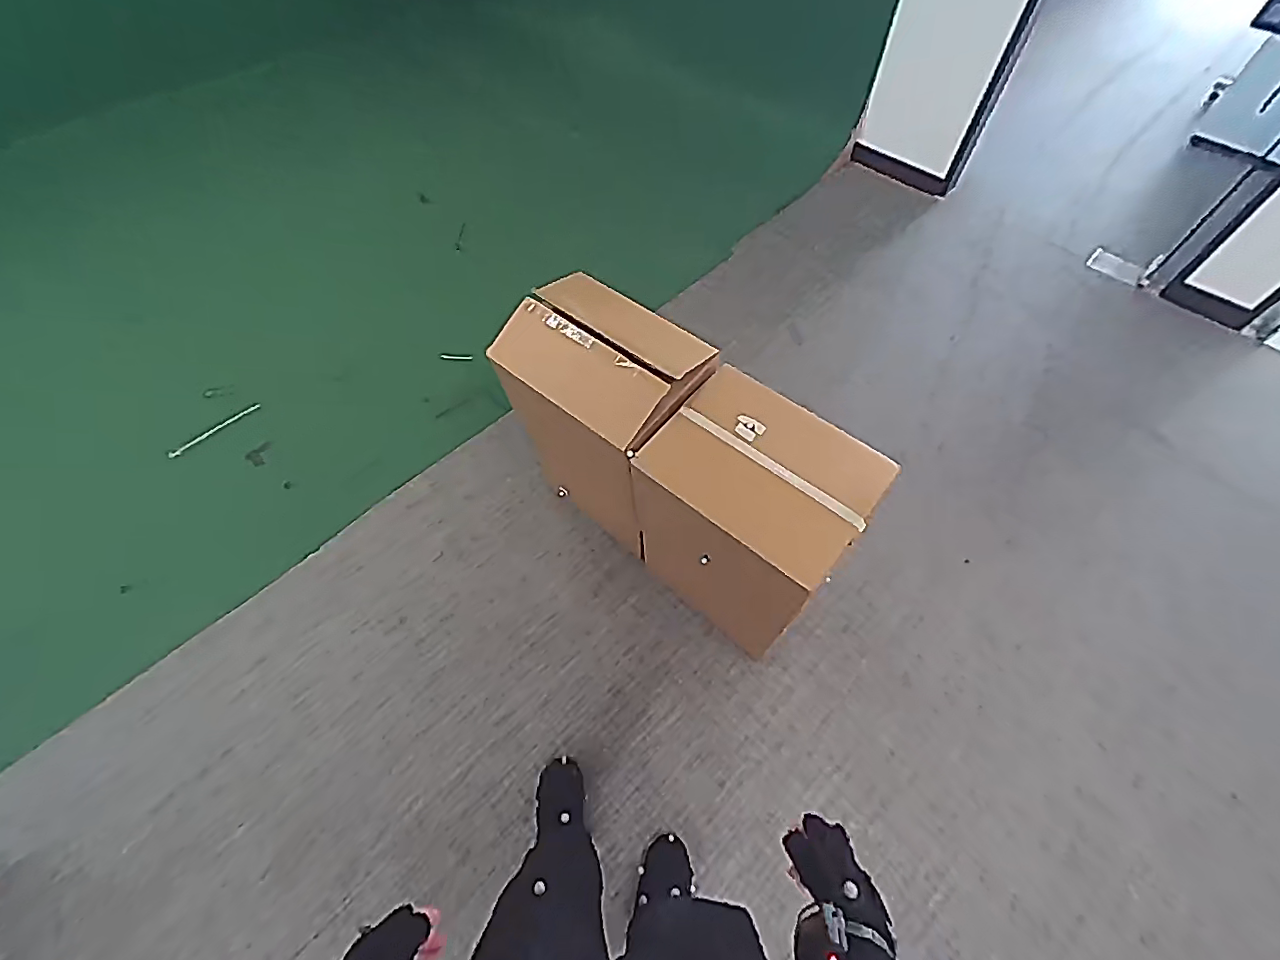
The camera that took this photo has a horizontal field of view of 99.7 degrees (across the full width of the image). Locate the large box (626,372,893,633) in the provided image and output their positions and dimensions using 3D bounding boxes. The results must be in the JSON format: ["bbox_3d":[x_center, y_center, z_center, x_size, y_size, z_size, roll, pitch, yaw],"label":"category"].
[{"bbox_3d":[0.232,0.052,1.138,0.408,0.320,0.320,35,67,22],"label":"large box"}]
